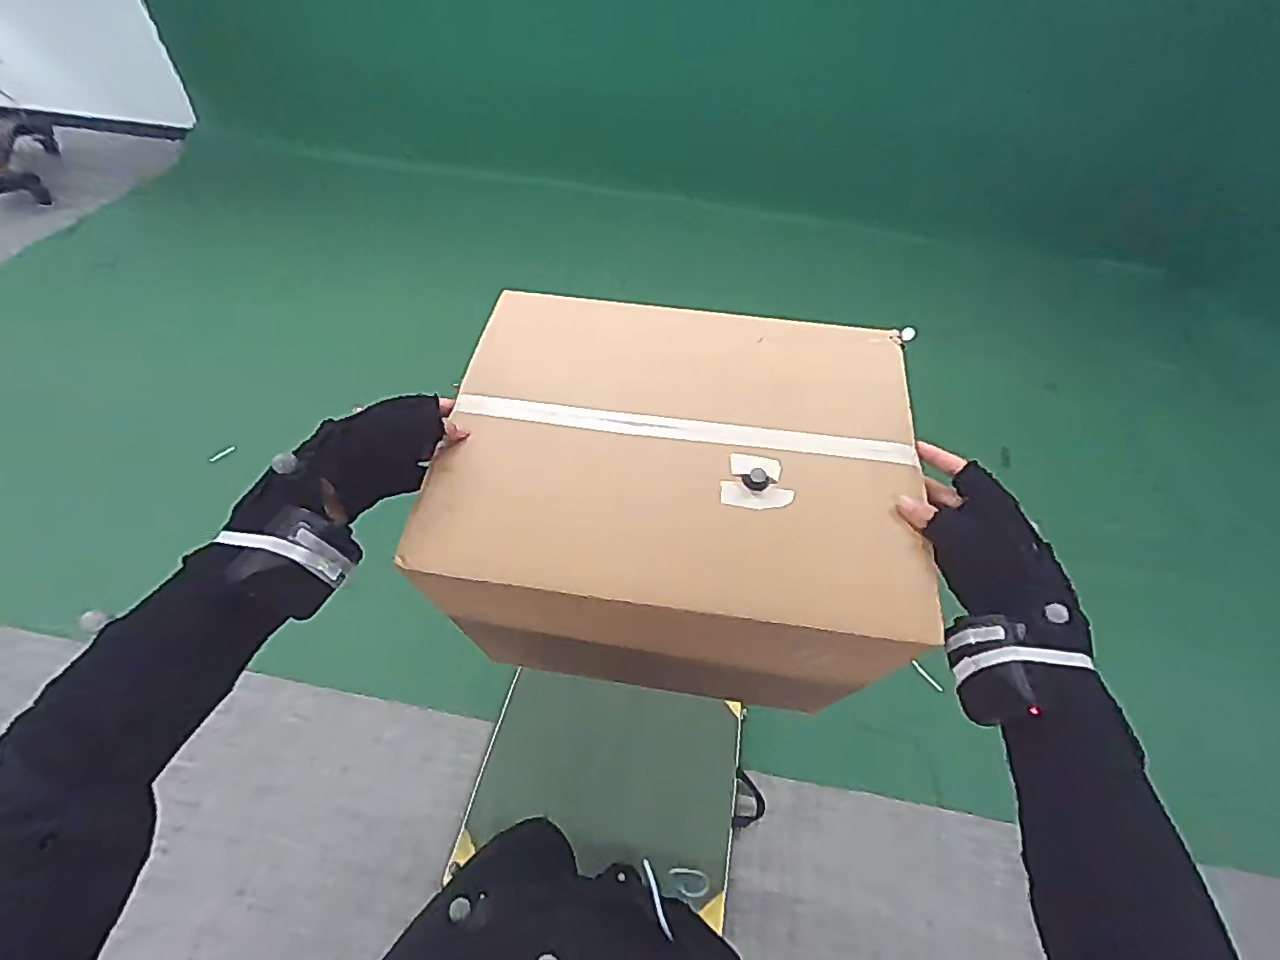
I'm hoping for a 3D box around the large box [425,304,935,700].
[{"bbox_3d":[0.040,0.040,0.615,0.408,0.320,0.320,8,60,3],"label":"large box"}]
